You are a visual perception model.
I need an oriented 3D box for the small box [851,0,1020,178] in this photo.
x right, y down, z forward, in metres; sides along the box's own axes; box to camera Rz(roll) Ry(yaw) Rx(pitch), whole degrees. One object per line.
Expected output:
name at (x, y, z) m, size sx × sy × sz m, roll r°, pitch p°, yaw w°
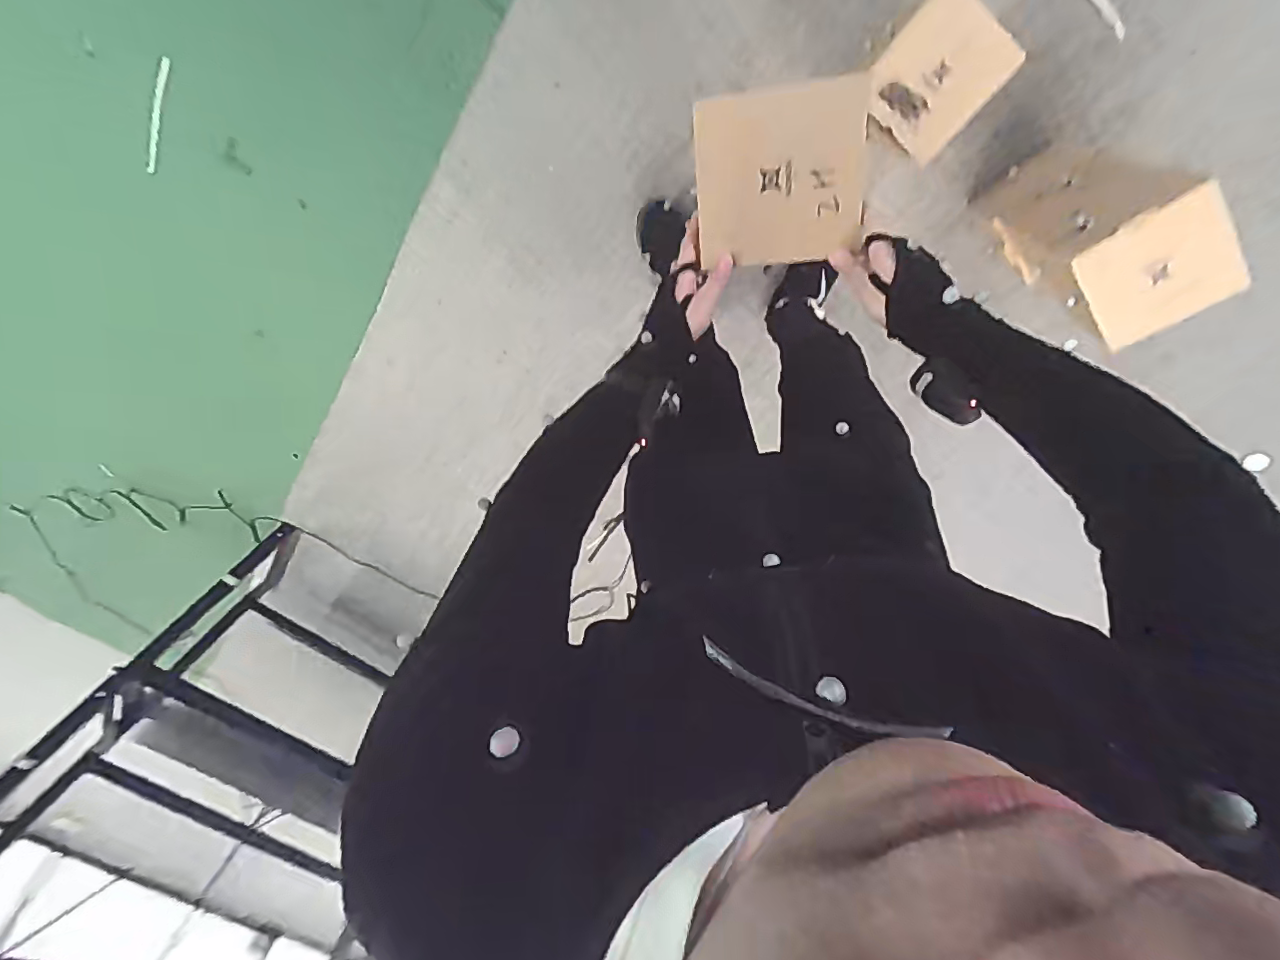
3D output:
small box at (0.458, -0.631, 0.879) m, size 0.168 × 0.176 × 0.179 m, roll 36°, pitch 124°, yaw -13°

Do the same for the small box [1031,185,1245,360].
small box at (0.741, -0.322, 0.826) m, size 0.168 × 0.176 × 0.179 m, roll -31°, pitch 113°, yaw 31°

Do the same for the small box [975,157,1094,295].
small box at (0.804, -0.510, 1.083) m, size 0.179 × 0.176 × 0.168 m, roll -34°, pitch 112°, yaw 32°

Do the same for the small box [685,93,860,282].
small box at (0.155, -0.336, 0.650) m, size 0.179 × 0.176 × 0.168 m, roll -1°, pitch 115°, yaw 13°

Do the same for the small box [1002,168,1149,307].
small box at (0.784, -0.416, 0.952) m, size 0.179 × 0.176 × 0.168 m, roll 44°, pitch 123°, yaw -16°
